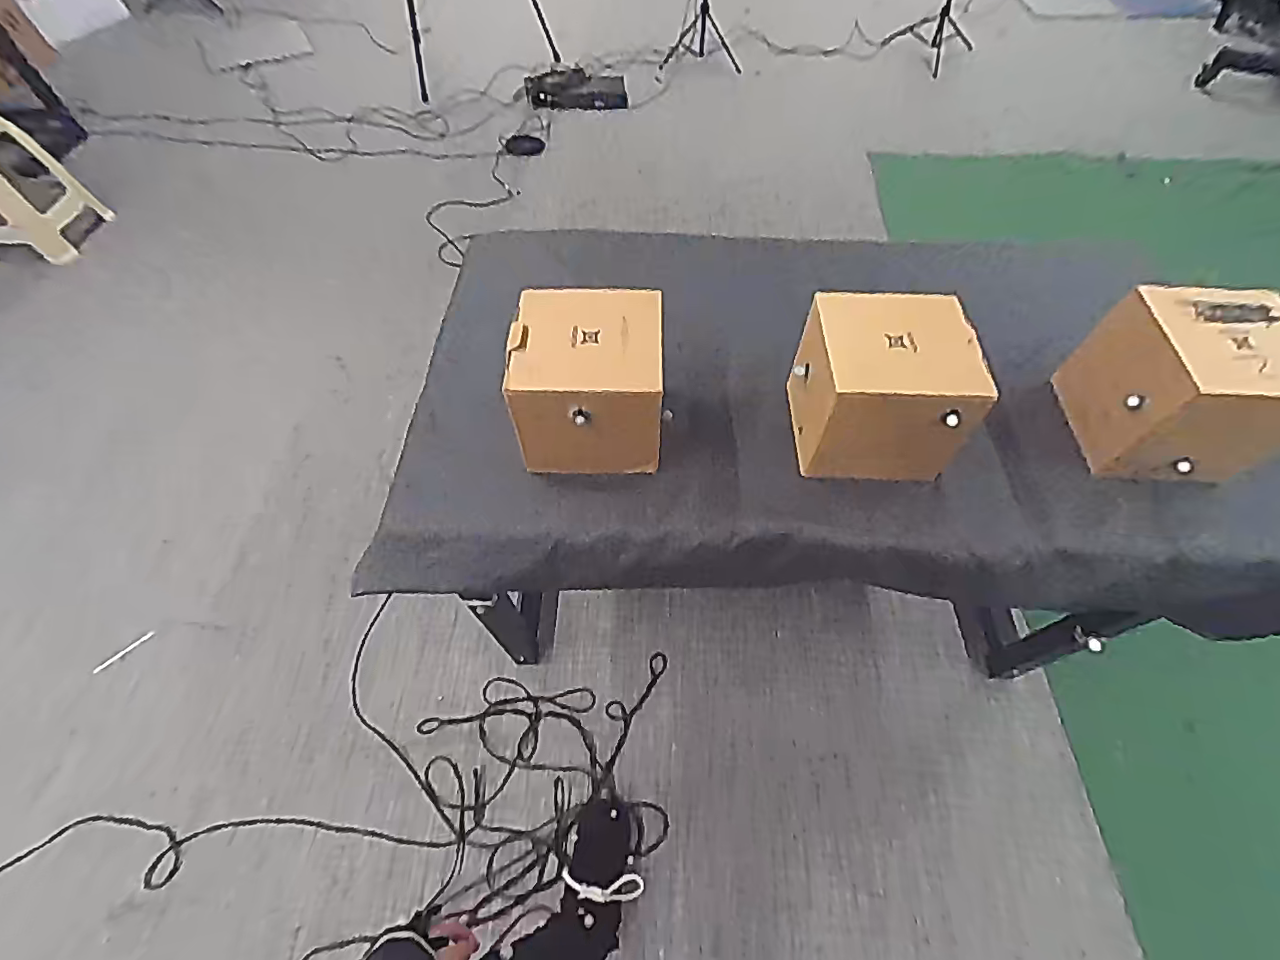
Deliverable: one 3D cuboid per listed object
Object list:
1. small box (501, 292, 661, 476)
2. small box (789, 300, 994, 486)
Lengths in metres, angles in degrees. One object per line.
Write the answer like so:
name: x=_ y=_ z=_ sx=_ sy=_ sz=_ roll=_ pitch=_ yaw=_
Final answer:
small box: x=-0.064 y=-0.116 z=0.690 sx=0.179 sy=0.176 sz=0.168 roll=1 pitch=58 yaw=-1
small box: x=0.294 y=-0.105 z=0.684 sx=0.179 sy=0.176 sz=0.168 roll=2 pitch=56 yaw=1
